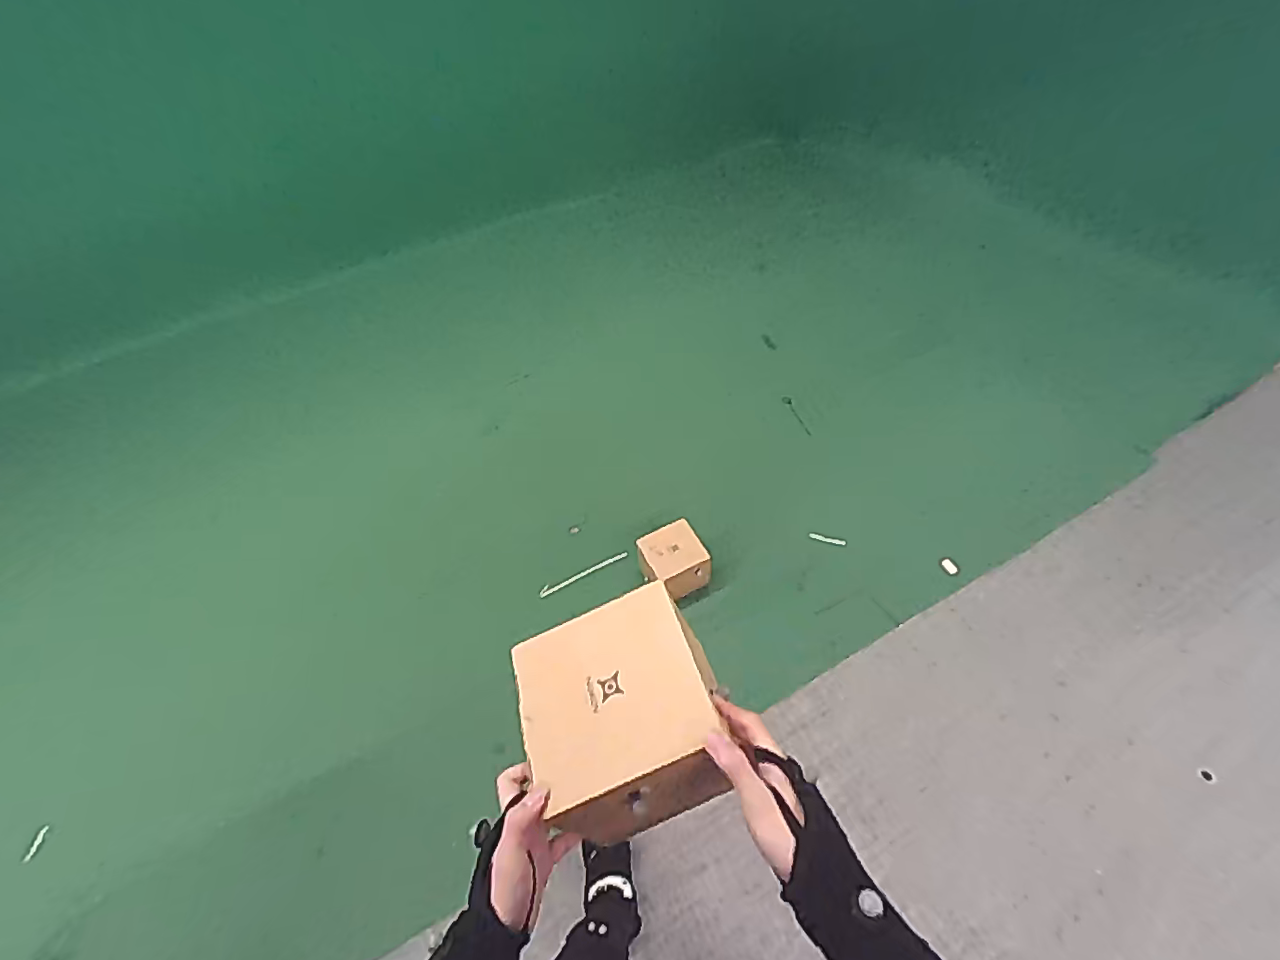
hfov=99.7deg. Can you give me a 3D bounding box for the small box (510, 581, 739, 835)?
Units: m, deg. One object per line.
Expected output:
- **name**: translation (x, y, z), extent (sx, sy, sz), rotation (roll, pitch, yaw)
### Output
- **small box**: translation (-0.009, 0.239, 0.561), extent (0.179, 0.176, 0.168), rotation (-25, 46, 3)

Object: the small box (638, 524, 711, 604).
- **small box**: translation (0.107, 0.274, 1.706), extent (0.179, 0.176, 0.168), rotation (-23, 53, -13)
